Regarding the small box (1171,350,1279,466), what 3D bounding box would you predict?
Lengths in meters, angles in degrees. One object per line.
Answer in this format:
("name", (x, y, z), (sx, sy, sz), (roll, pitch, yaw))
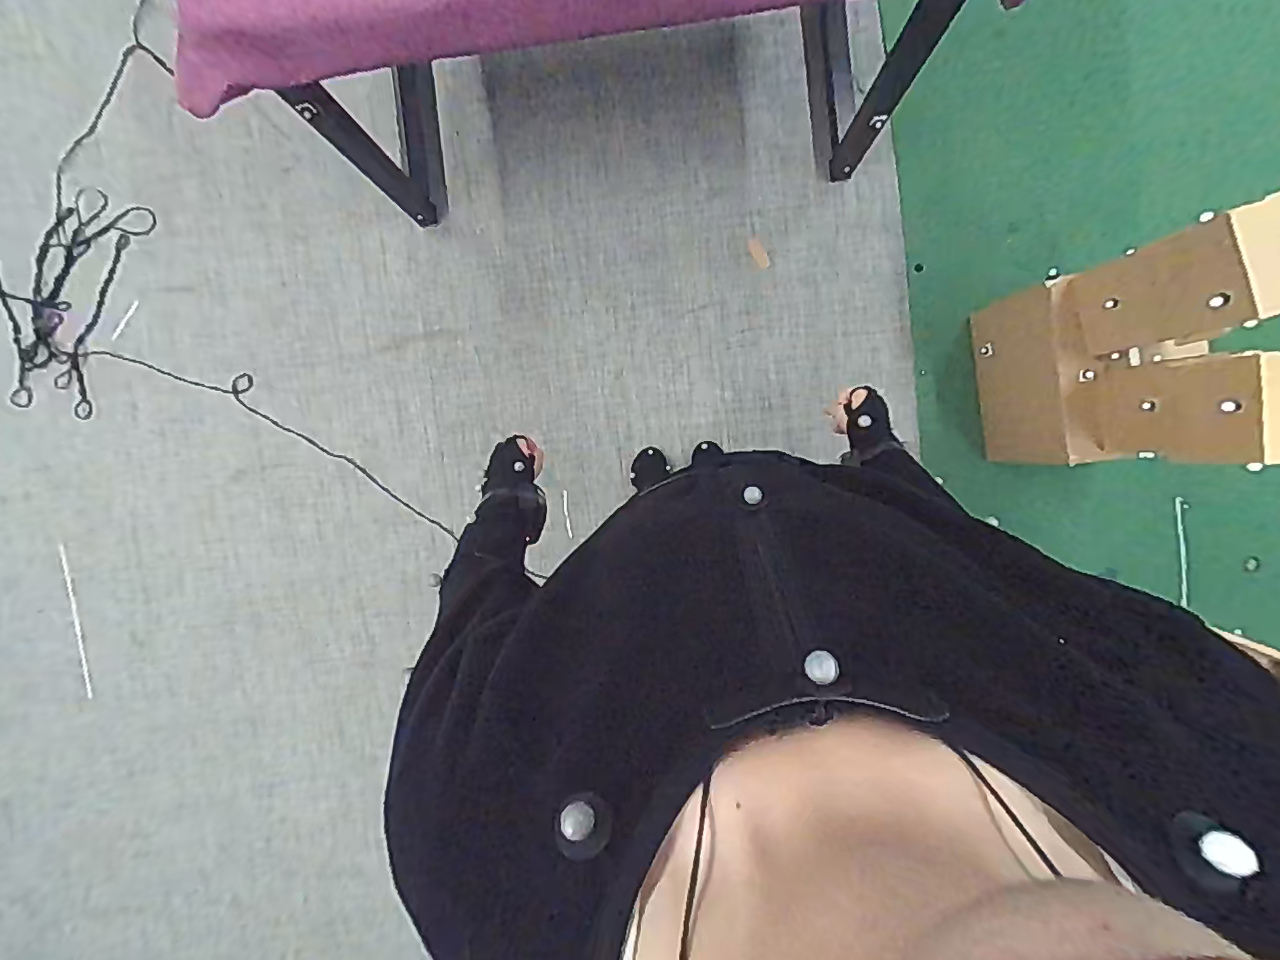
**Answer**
("small box", (1.040, -0.118, 0.895), (0.168, 0.176, 0.179), (-5, 91, 5))
